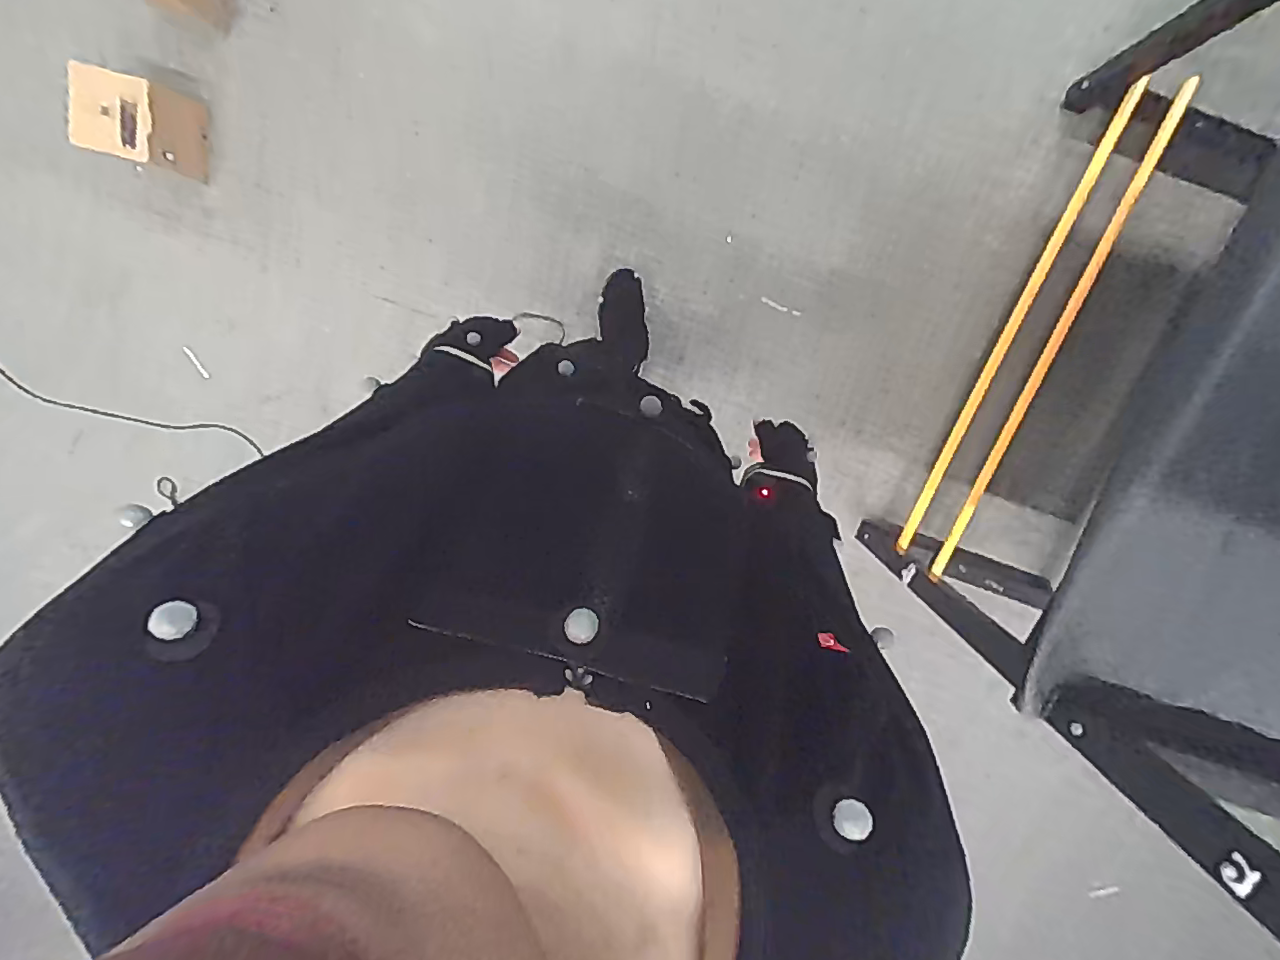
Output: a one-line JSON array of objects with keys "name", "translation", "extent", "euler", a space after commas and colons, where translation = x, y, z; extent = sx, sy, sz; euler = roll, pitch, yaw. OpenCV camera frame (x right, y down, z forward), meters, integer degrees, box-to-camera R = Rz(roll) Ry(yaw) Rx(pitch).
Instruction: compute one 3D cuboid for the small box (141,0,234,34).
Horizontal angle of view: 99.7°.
[{"name": "small box", "translation": [-1.022, -1.116, 1.166], "extent": [0.179, 0.176, 0.168], "euler": [18, 104, -4]}]
